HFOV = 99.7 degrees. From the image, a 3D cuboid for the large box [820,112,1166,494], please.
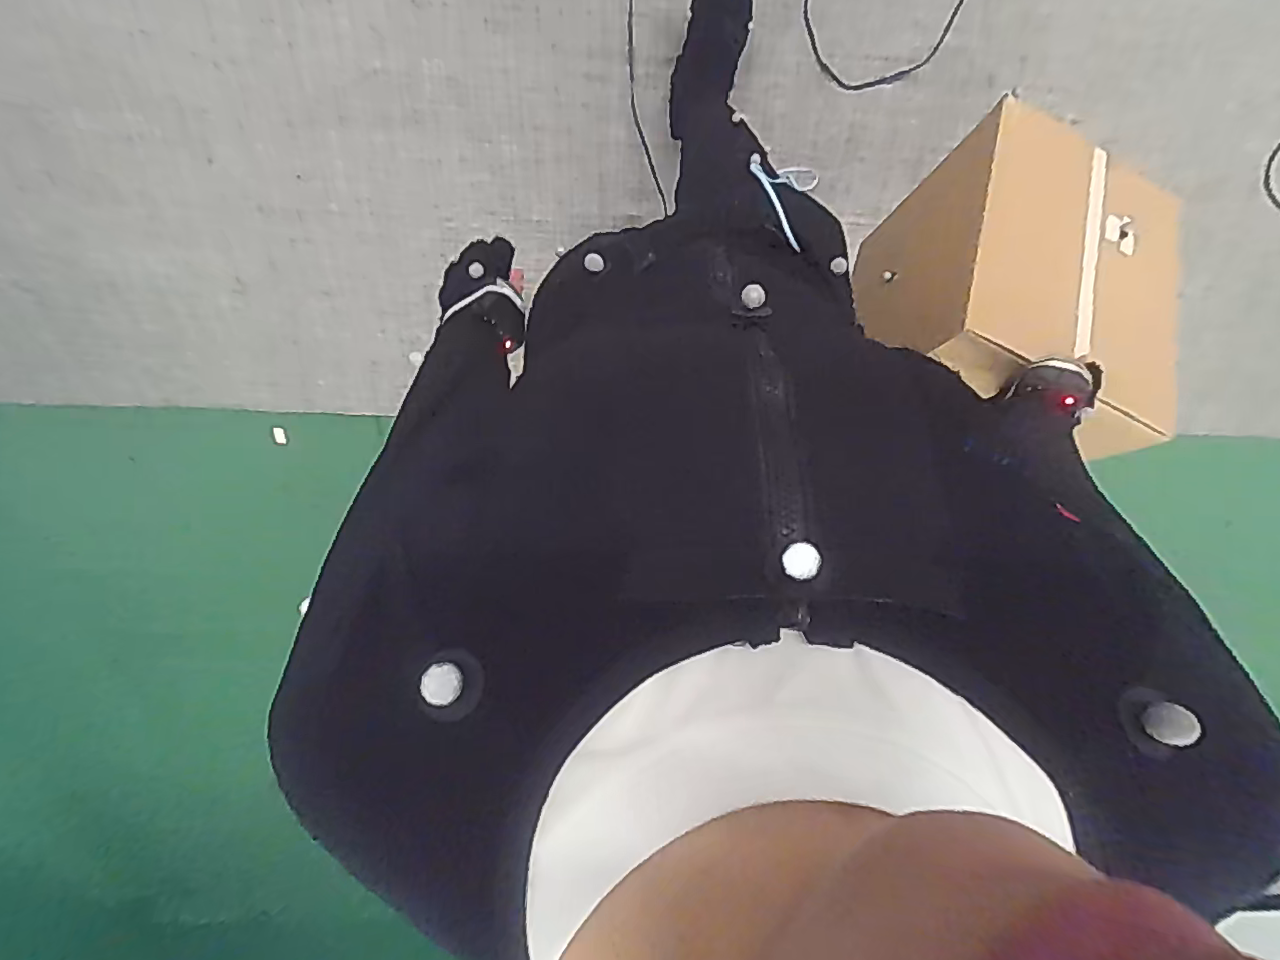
[{"bbox_3d":[0.528,-0.239,0.843,0.320,0.408,0.320,24,160,-9],"label":"large box"}]
